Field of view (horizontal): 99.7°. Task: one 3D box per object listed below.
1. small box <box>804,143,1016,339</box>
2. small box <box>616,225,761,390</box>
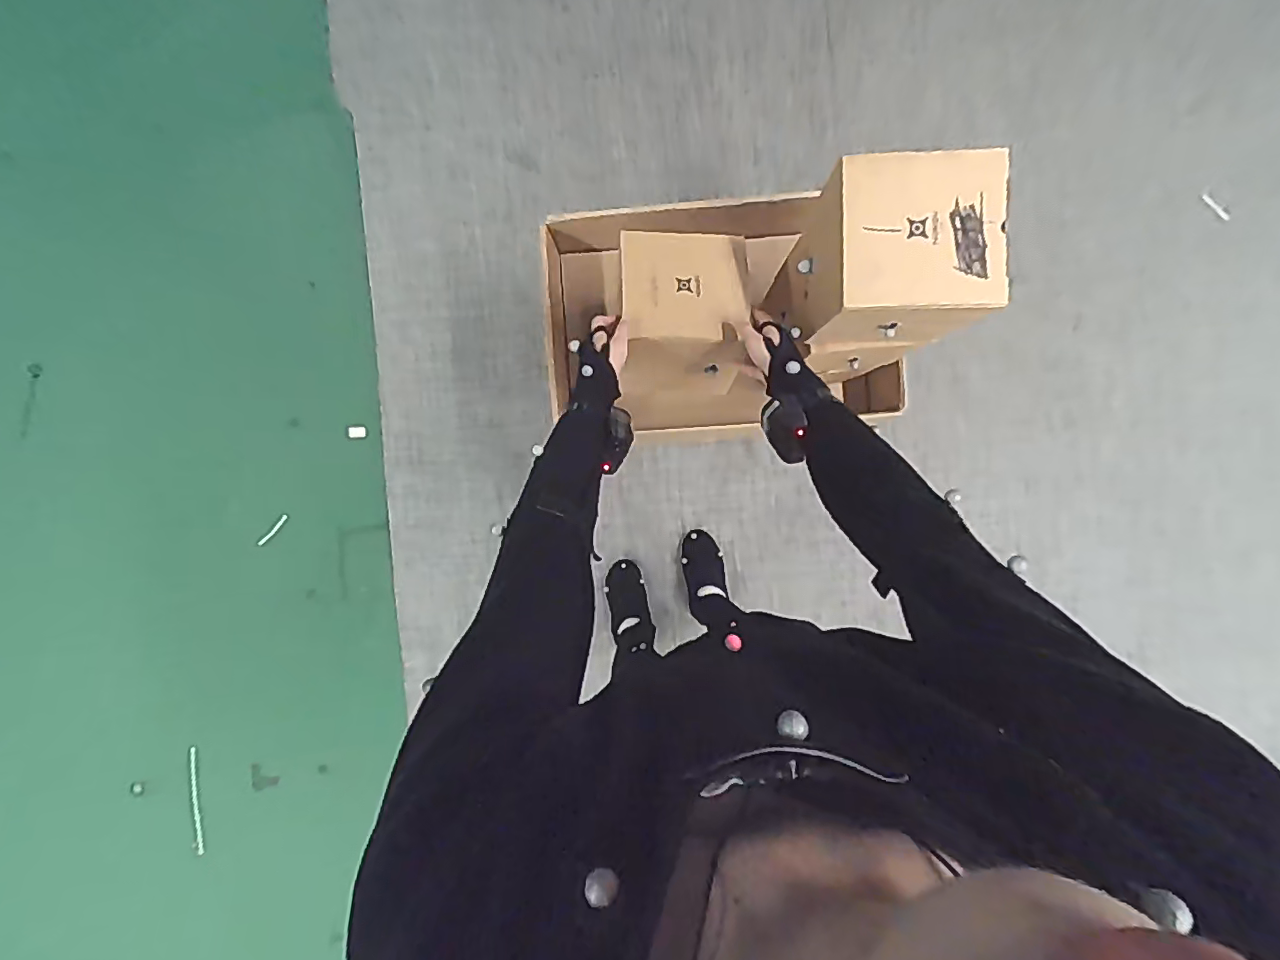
[{"bbox_3d":[0.307,-0.271,0.646,0.179,0.176,0.168,0,91,3],"label":"small box"},{"bbox_3d":[0.060,-0.240,0.783,0.179,0.176,0.168,-1,75,-6],"label":"small box"}]
